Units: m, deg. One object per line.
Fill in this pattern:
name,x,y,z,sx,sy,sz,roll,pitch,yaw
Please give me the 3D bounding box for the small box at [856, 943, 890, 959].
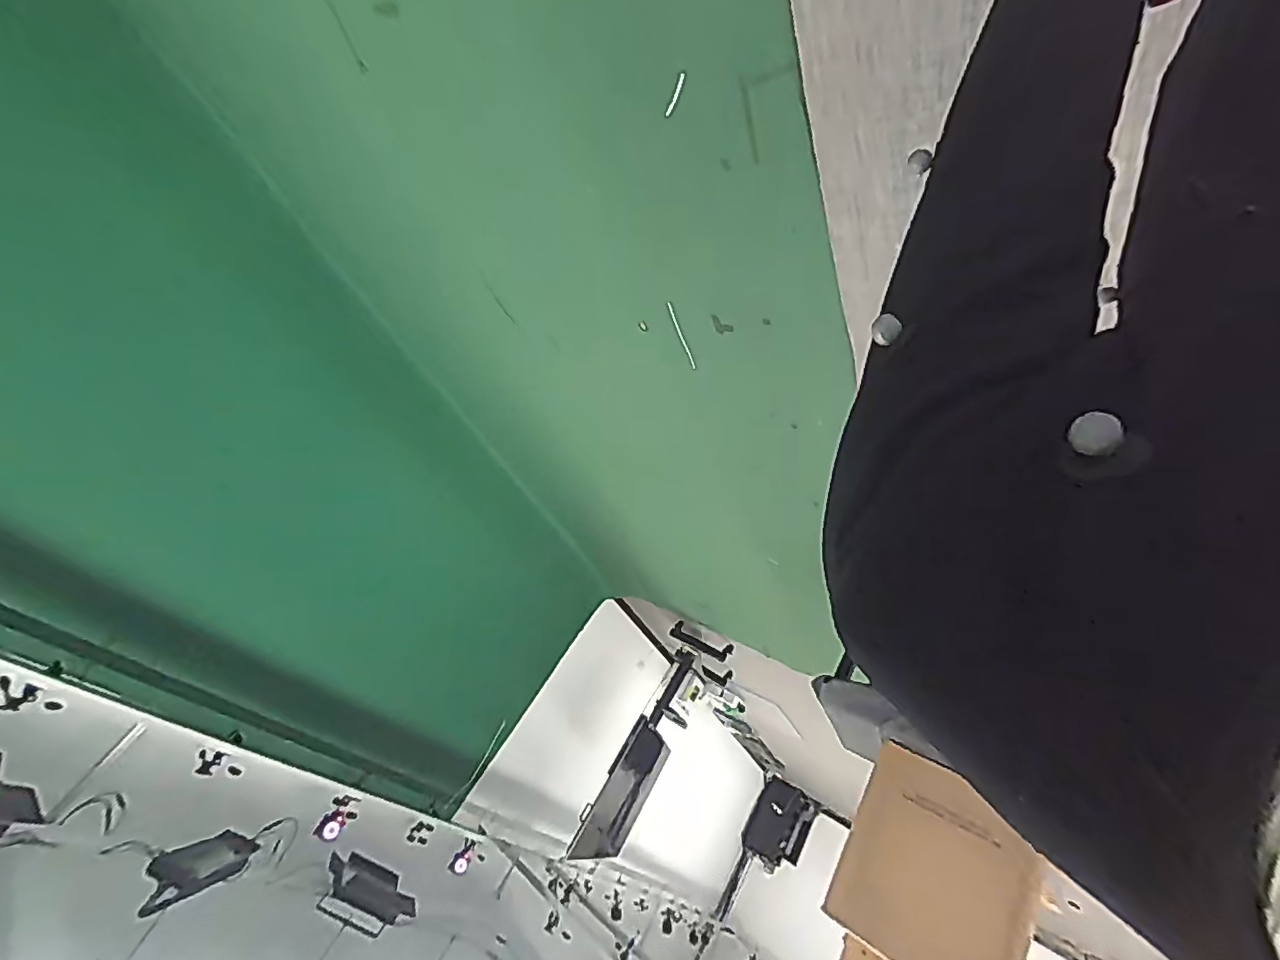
small box,0.800,1.676,1.781,0.168,0.176,0.179,12,146,45
